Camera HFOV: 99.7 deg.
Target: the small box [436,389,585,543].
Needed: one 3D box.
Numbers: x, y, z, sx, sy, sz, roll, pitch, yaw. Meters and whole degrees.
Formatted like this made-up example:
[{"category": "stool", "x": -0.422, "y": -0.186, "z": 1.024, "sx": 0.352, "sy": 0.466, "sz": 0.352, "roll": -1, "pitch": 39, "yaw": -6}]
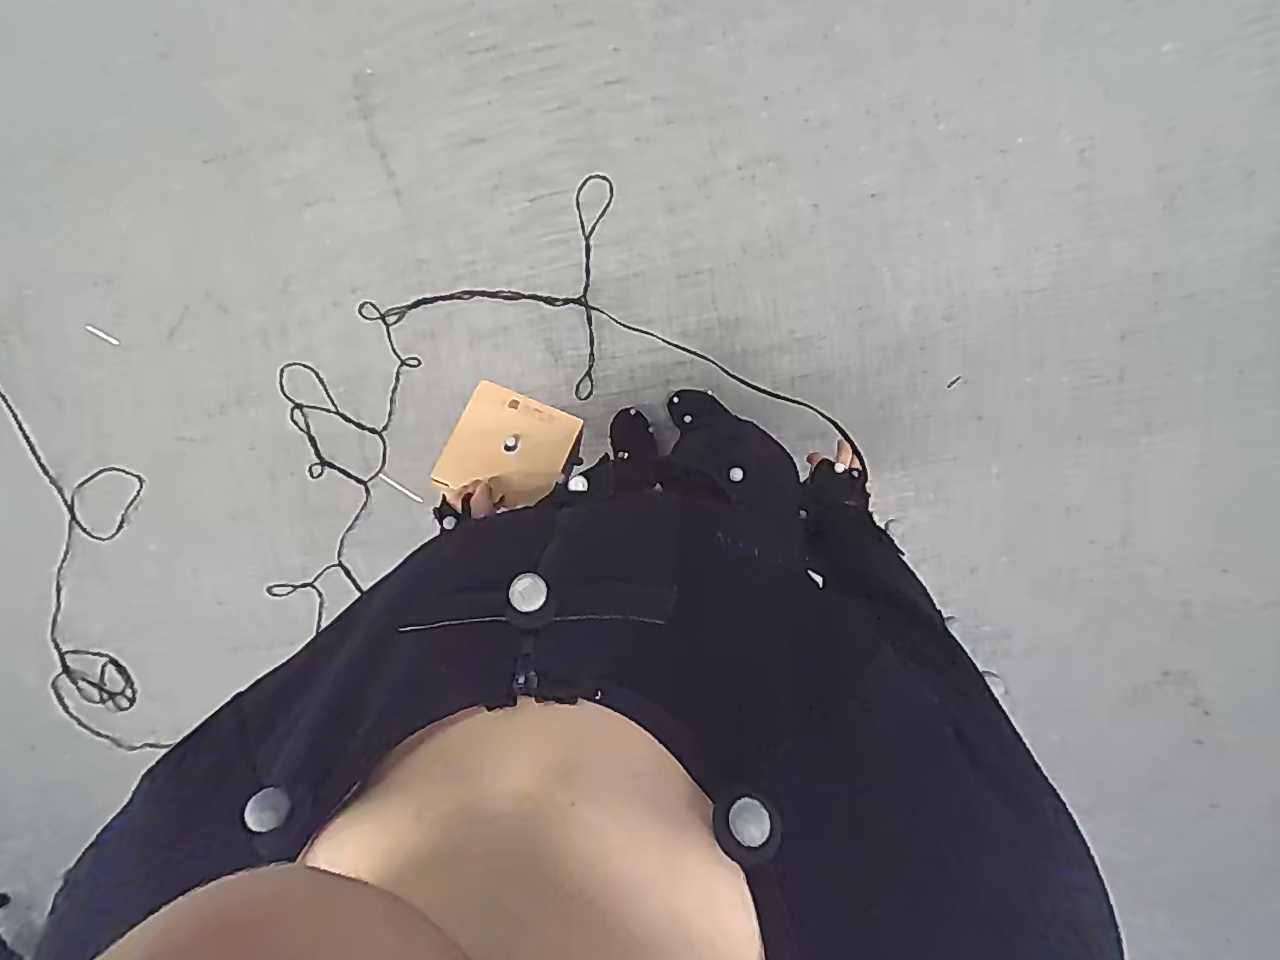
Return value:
[{"category": "small box", "x": -0.196, "y": -0.019, "z": 0.858, "sx": 0.168, "sy": 0.179, "sz": 0.176, "roll": 23, "pitch": 72, "yaw": -3}]
